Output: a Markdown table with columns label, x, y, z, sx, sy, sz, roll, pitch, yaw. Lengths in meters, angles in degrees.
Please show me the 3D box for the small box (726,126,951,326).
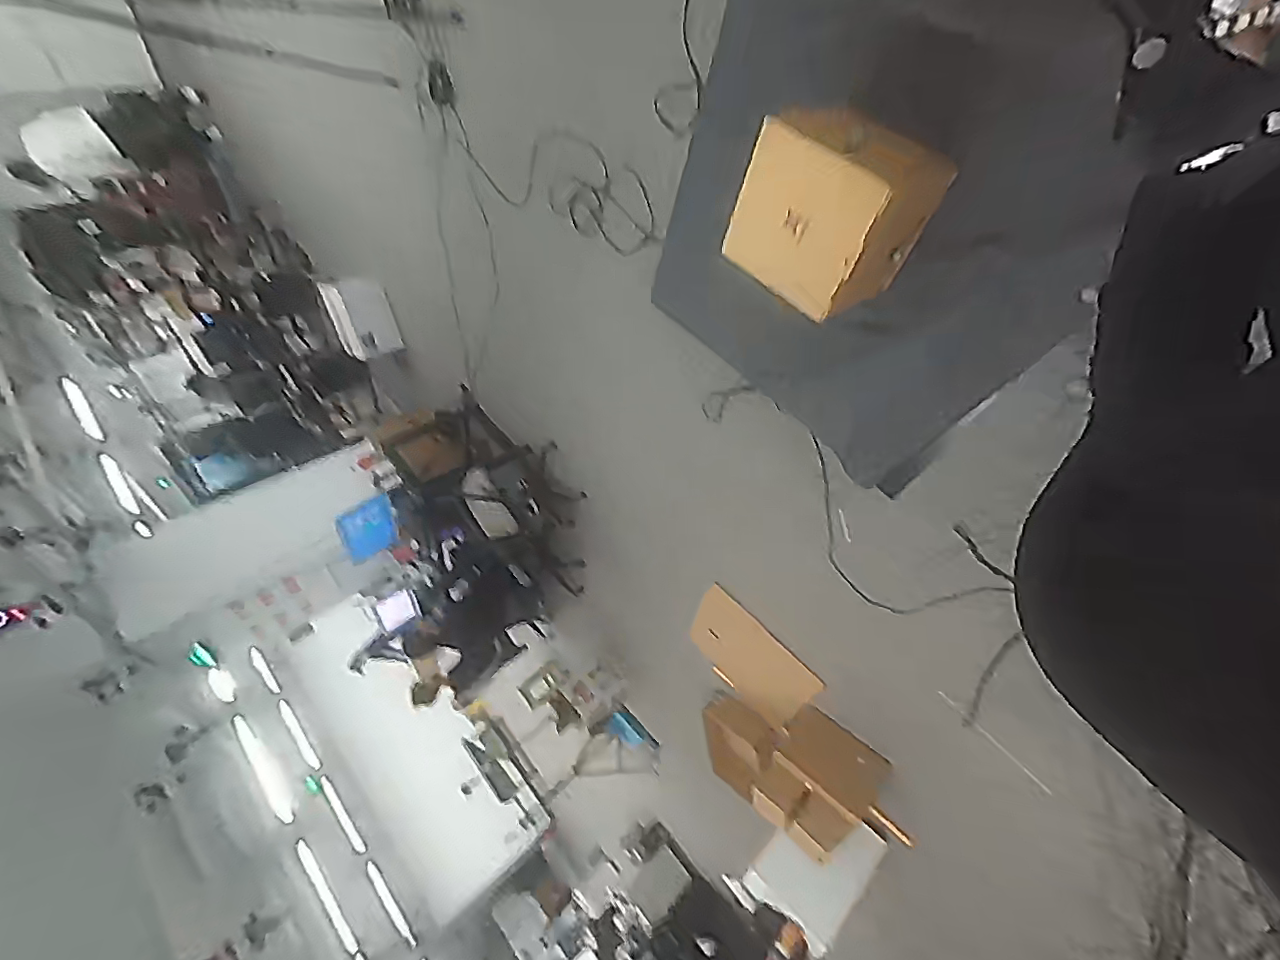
| label | x | y | z | sx | sy | sz | roll | pitch | yaw |
| --- | --- | --- | --- | --- | --- | --- | --- | --- | --- |
| small box | 0.247 | -0.330 | 0.692 | 0.179 | 0.176 | 0.168 | 44 | 145 | 21 |
